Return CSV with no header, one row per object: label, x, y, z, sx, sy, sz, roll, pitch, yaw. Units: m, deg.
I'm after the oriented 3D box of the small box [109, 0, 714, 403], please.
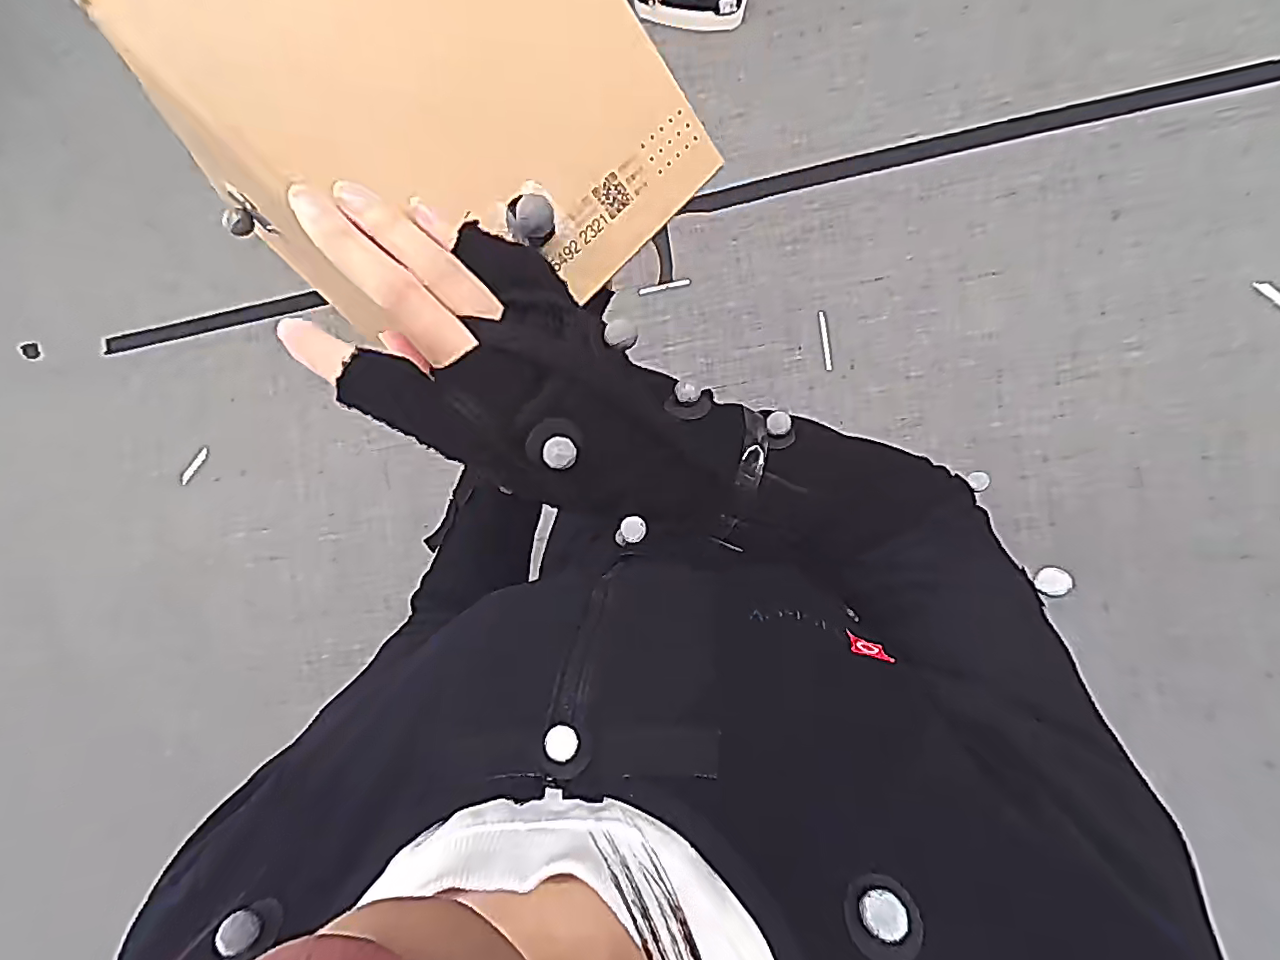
small box,-0.097,-0.156,0.289,0.168,0.179,0.176,-49,116,-12
